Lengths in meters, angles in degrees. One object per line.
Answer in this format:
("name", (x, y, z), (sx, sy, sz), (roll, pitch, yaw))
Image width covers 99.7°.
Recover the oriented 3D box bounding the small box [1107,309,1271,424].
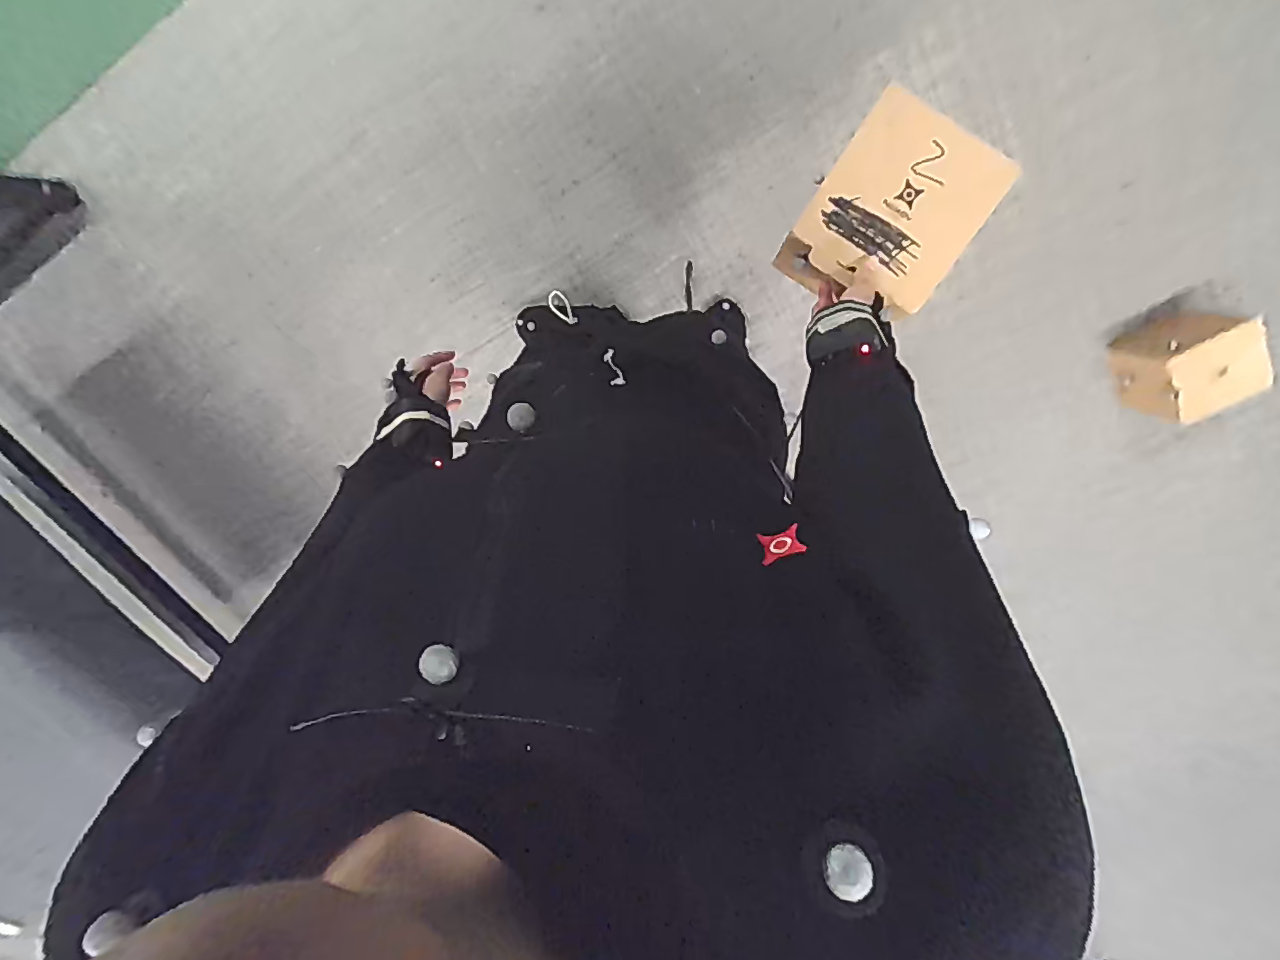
("small box", (1.185, -0.253, 1.178), (0.179, 0.176, 0.168), (-30, 109, 14))
